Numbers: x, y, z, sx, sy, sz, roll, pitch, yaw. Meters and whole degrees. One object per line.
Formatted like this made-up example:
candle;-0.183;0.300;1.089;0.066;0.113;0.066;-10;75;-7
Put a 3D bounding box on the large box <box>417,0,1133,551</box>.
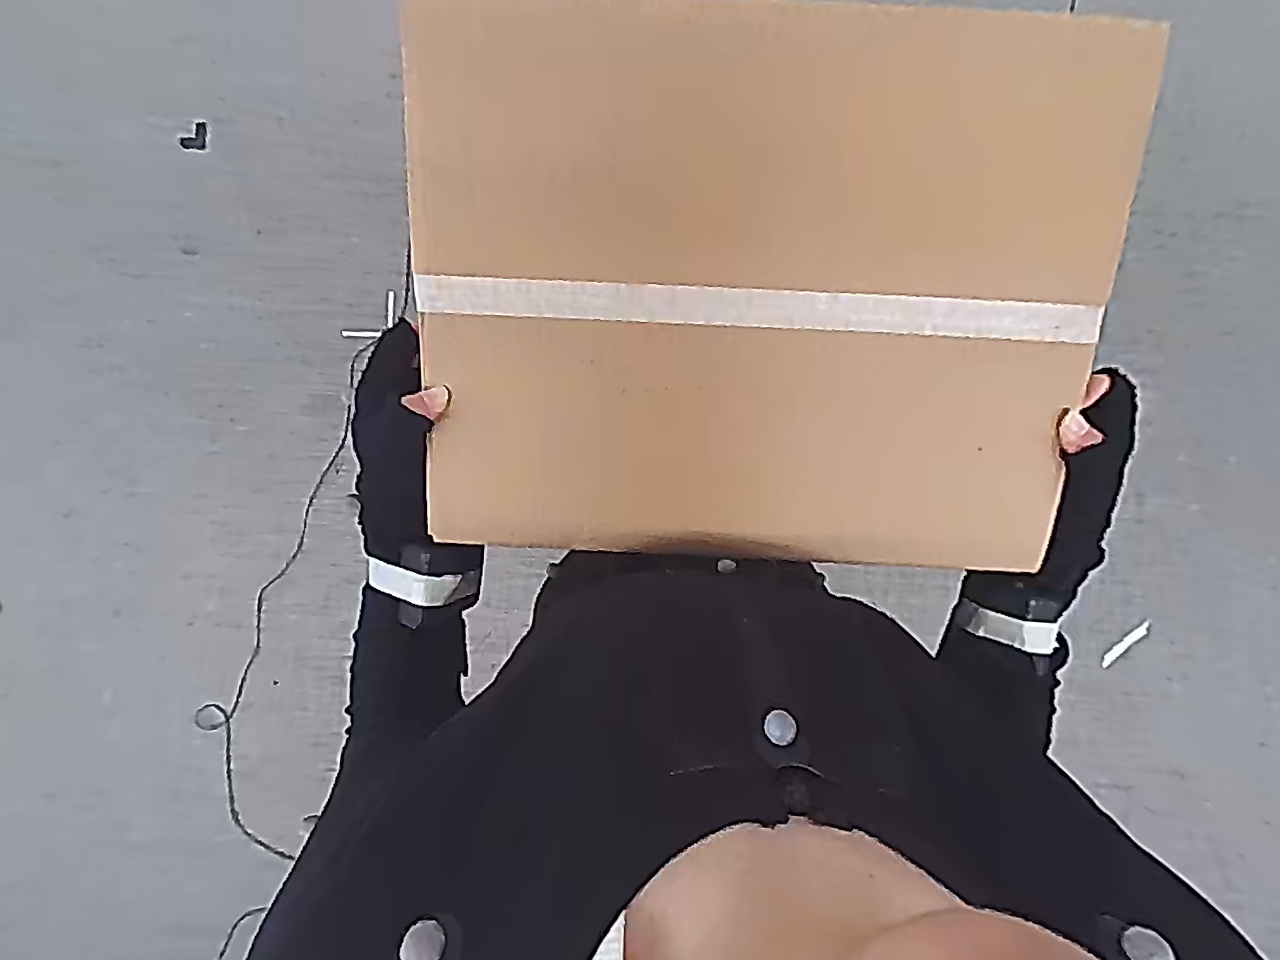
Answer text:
large box;0.069;-0.141;0.475;0.408;0.320;0.320;3;105;-1
